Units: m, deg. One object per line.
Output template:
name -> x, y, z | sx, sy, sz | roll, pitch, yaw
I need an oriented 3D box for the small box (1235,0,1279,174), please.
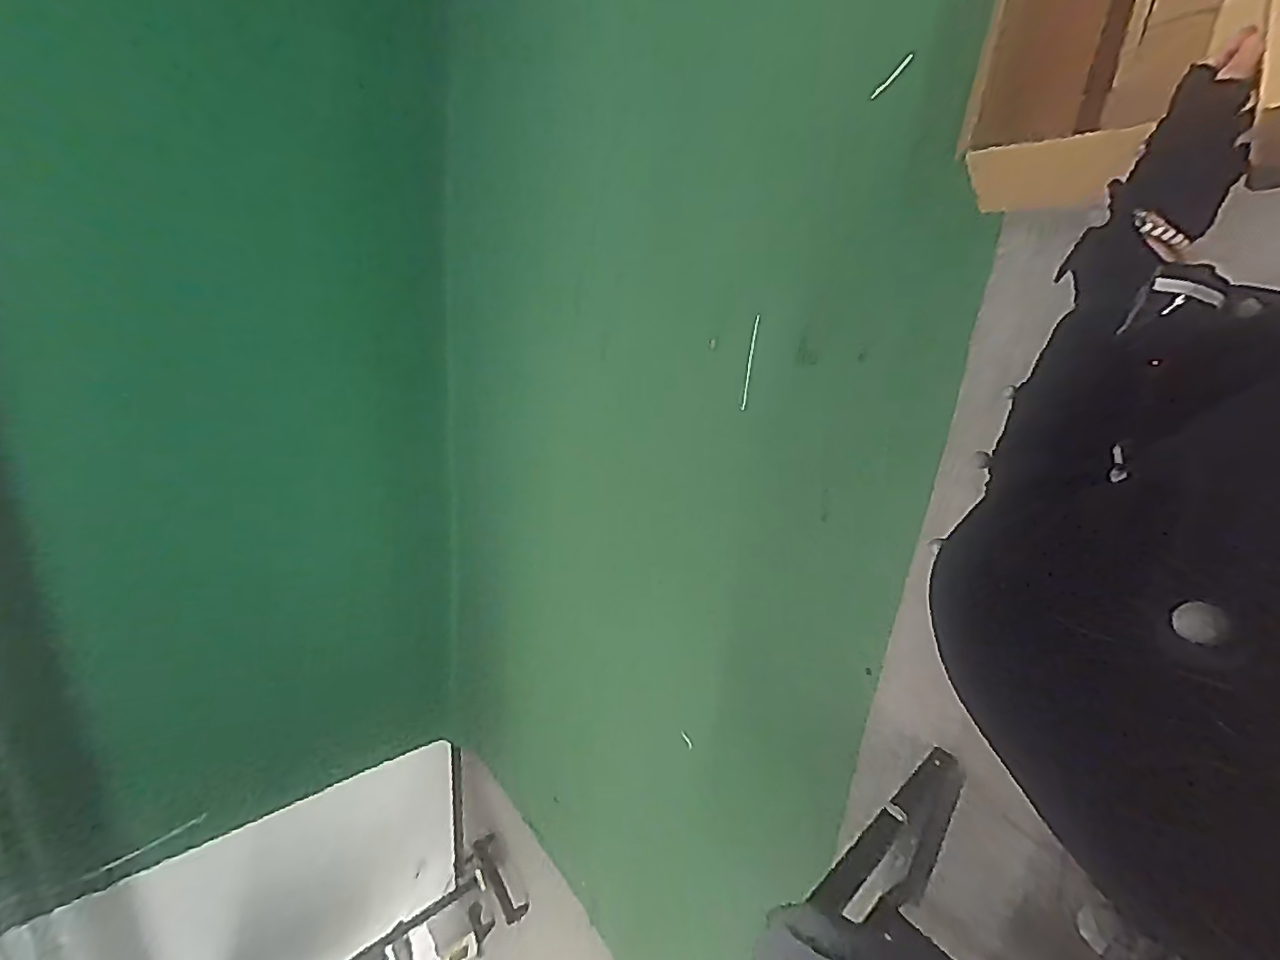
small box -> 0.489, -0.309, 0.312 | 0.179, 0.176, 0.168 | 8, 99, 45
